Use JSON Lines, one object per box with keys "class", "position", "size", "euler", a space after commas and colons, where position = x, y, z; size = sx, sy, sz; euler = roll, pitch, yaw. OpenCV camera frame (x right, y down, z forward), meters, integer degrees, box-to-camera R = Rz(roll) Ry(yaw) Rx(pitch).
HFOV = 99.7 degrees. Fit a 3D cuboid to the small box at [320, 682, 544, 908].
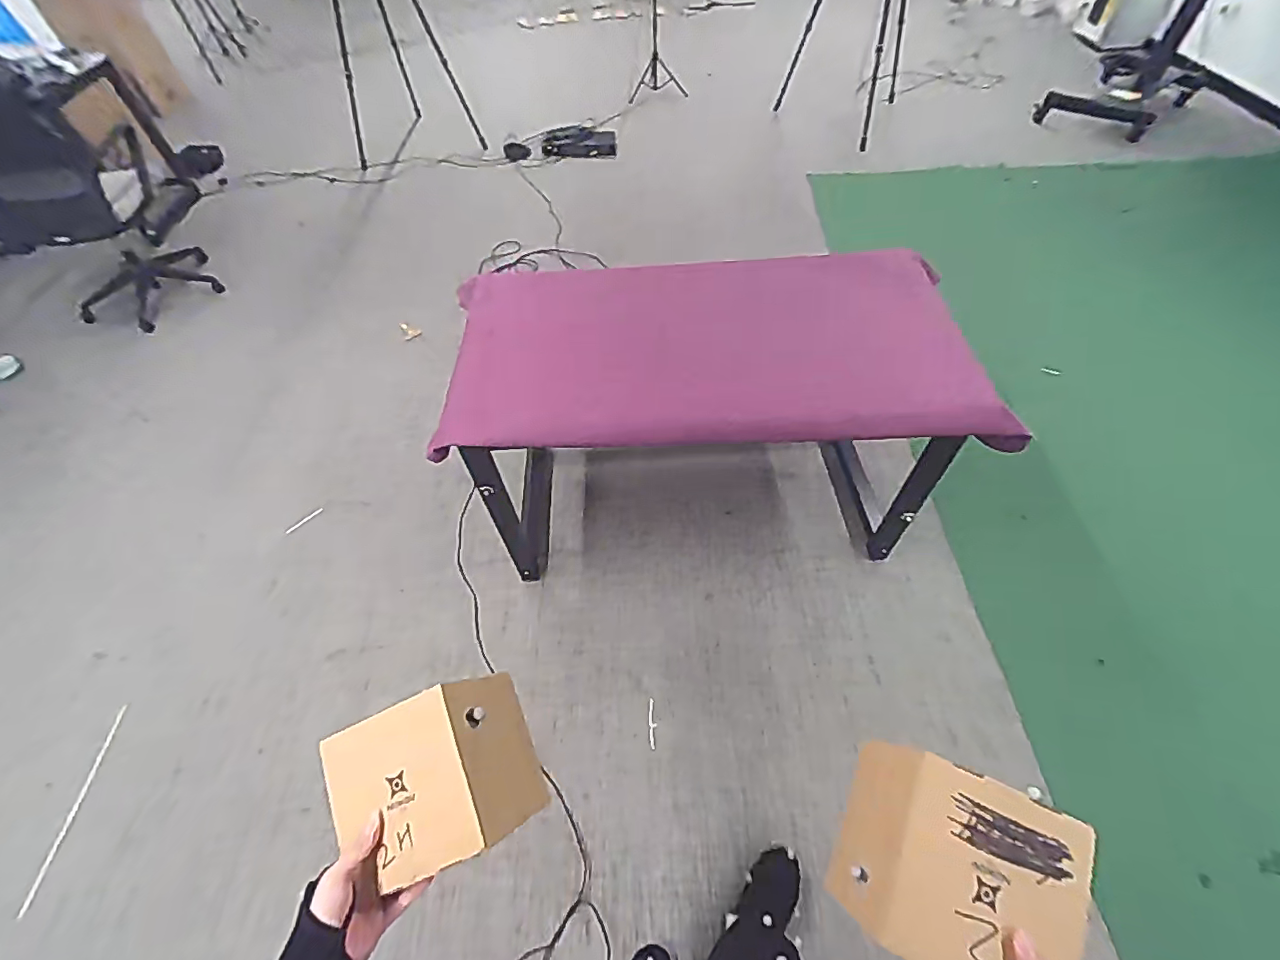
{"class": "small box", "position": [-0.243, 0.359, 0.656], "size": [0.168, 0.176, 0.179], "euler": [-27, 70, 6]}
